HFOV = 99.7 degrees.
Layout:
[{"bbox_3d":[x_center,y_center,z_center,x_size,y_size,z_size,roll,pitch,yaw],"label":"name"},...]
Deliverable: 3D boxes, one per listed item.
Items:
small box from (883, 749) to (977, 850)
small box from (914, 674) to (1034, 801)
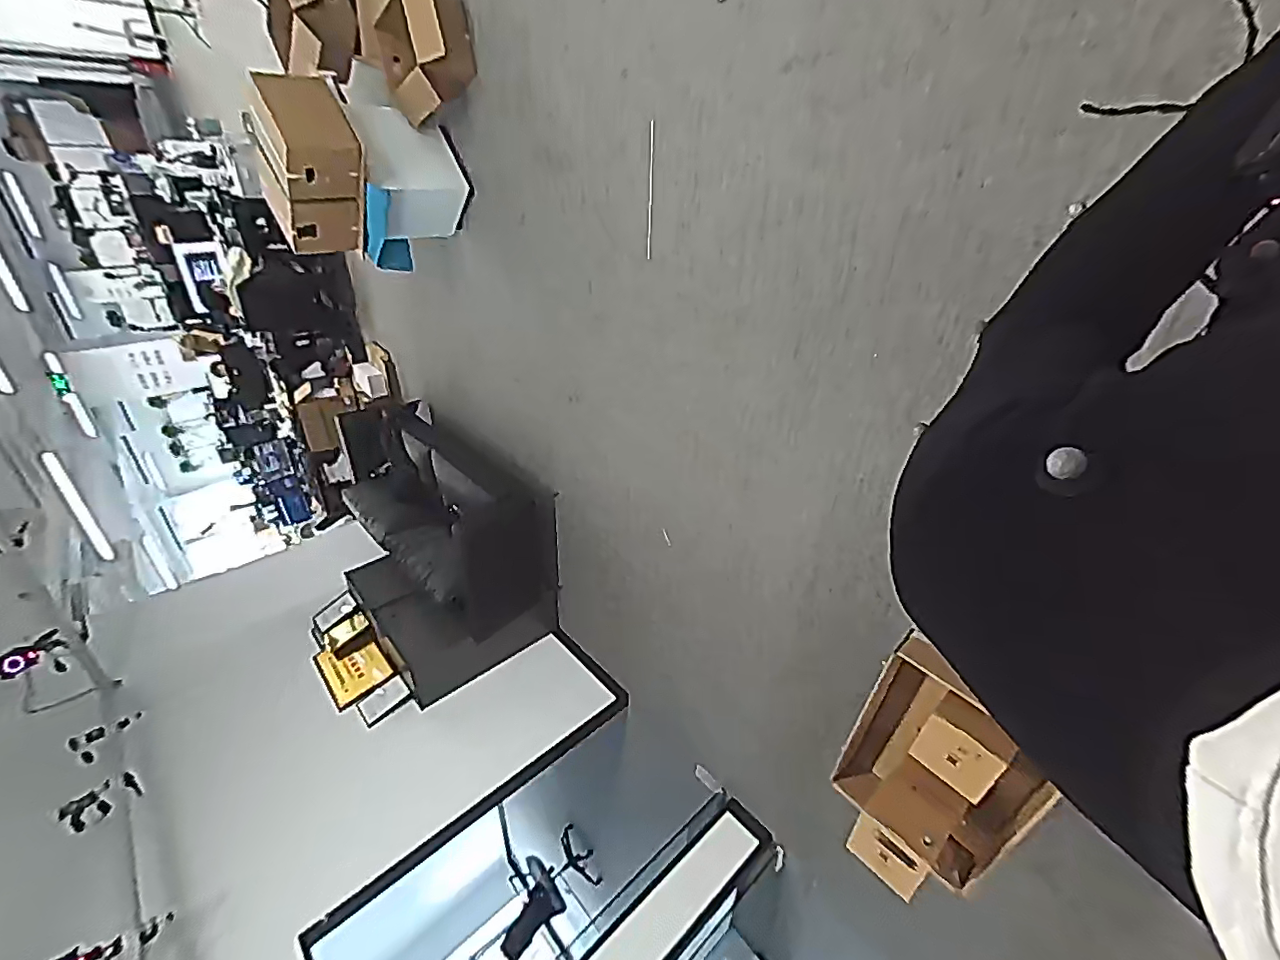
[{"bbox_3d":[0.781,0.815,1.430,0.168,0.176,0.179,33,131,38],"label":"small box"},{"bbox_3d":[0.795,0.606,1.286,0.168,0.176,0.179,34,134,36],"label":"small box"}]
